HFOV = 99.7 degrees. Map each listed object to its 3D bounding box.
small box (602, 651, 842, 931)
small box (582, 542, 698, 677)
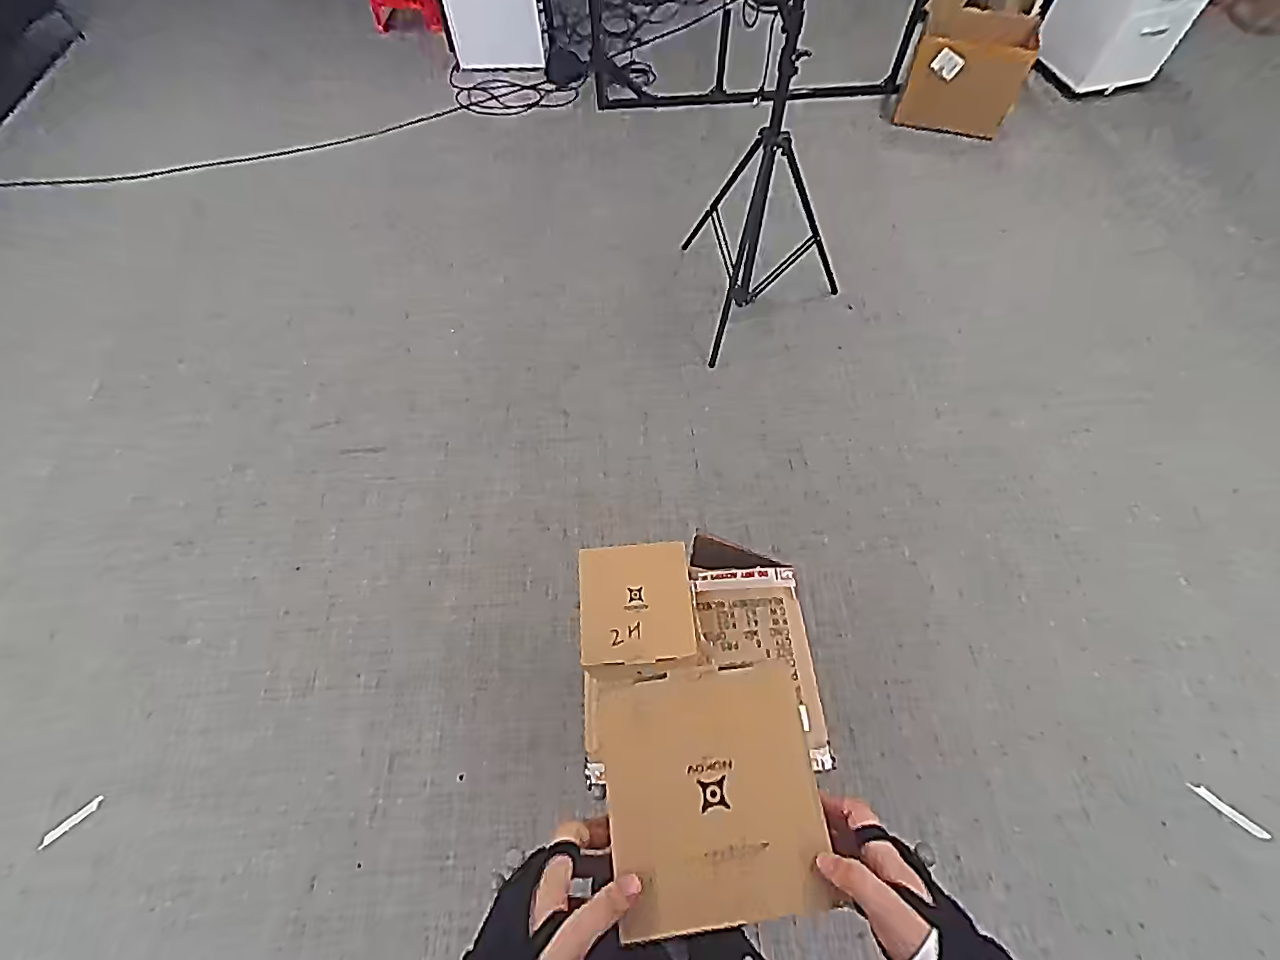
[{"bbox_3d":[0.056,0.265,0.494,0.168,0.176,0.179,-7,67,-3],"label":"small box"},{"bbox_3d":[-0.002,0.213,0.864,0.168,0.176,0.179,-5,64,1],"label":"small box"}]
